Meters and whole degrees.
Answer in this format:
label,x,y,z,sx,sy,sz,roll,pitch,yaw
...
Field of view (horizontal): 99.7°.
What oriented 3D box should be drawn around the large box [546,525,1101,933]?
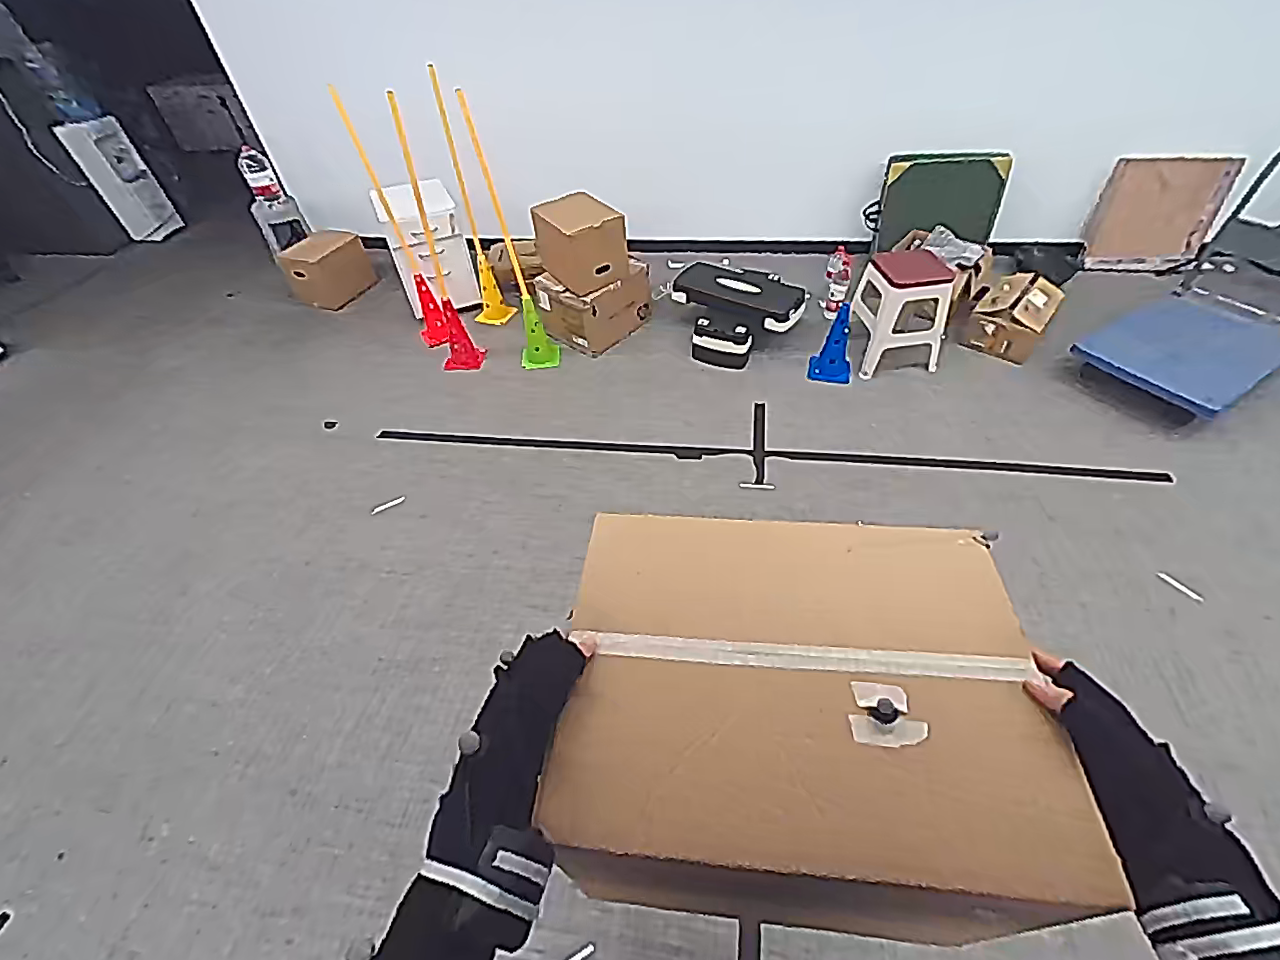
label,x,y,z,sx,sy,sz,roll,pitch,yaw
large box,0.143,0.269,0.599,0.408,0.320,0.320,2,47,6
